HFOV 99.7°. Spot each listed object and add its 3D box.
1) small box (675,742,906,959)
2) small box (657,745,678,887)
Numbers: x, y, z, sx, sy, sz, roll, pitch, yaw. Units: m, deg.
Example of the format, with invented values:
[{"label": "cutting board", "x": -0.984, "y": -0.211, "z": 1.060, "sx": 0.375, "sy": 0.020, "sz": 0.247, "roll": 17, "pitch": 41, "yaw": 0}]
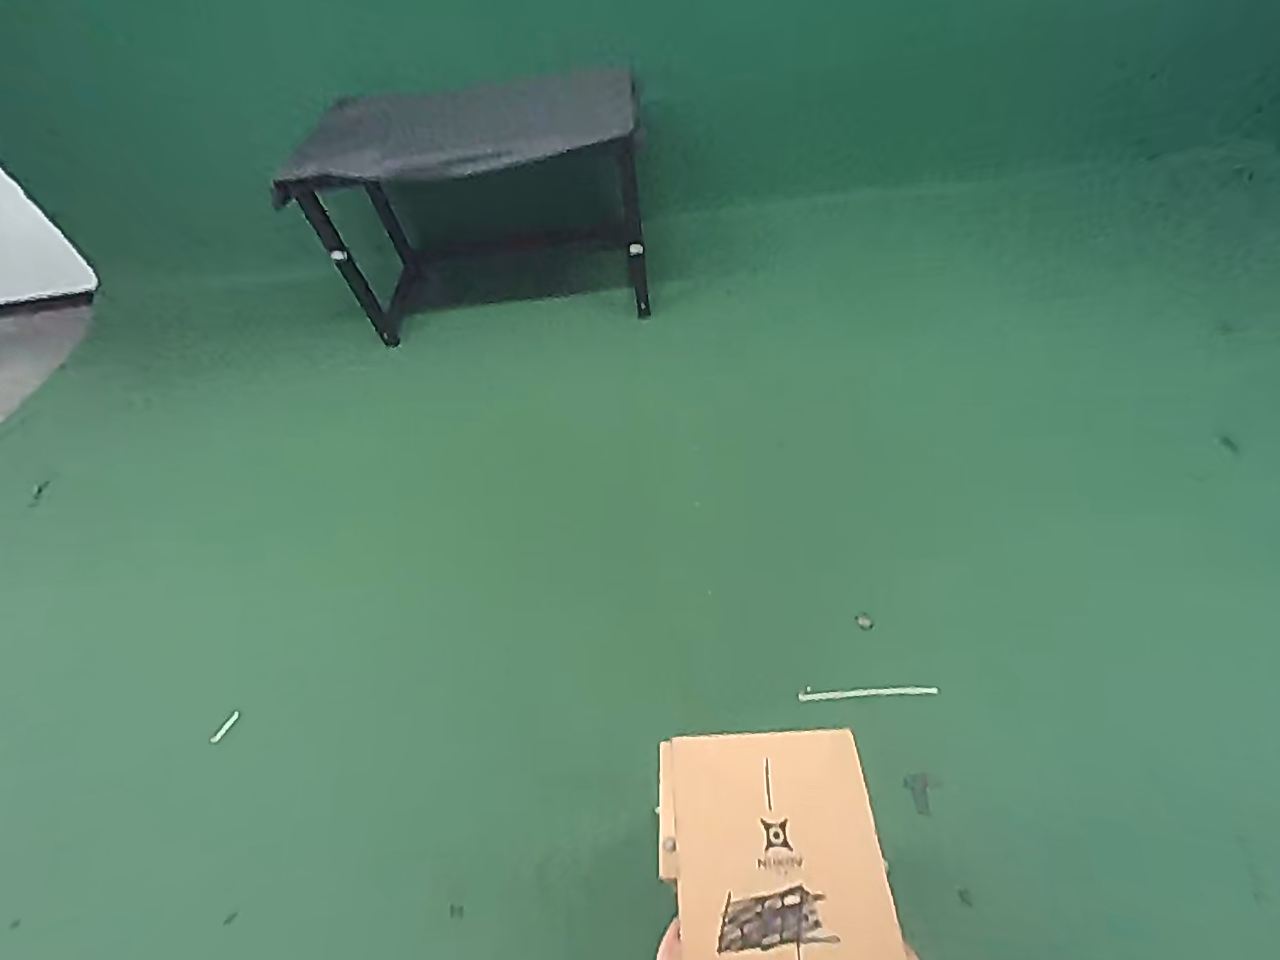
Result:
[{"label": "small box", "x": 0.120, "y": 0.351, "z": 0.493, "sx": 0.168, "sy": 0.176, "sz": 0.179, "roll": -3, "pitch": 53, "yaw": 4}, {"label": "small box", "x": 0.123, "y": 0.501, "z": 0.798, "sx": 0.179, "sy": 0.176, "sz": 0.168, "roll": -3, "pitch": 51, "yaw": 7}]
